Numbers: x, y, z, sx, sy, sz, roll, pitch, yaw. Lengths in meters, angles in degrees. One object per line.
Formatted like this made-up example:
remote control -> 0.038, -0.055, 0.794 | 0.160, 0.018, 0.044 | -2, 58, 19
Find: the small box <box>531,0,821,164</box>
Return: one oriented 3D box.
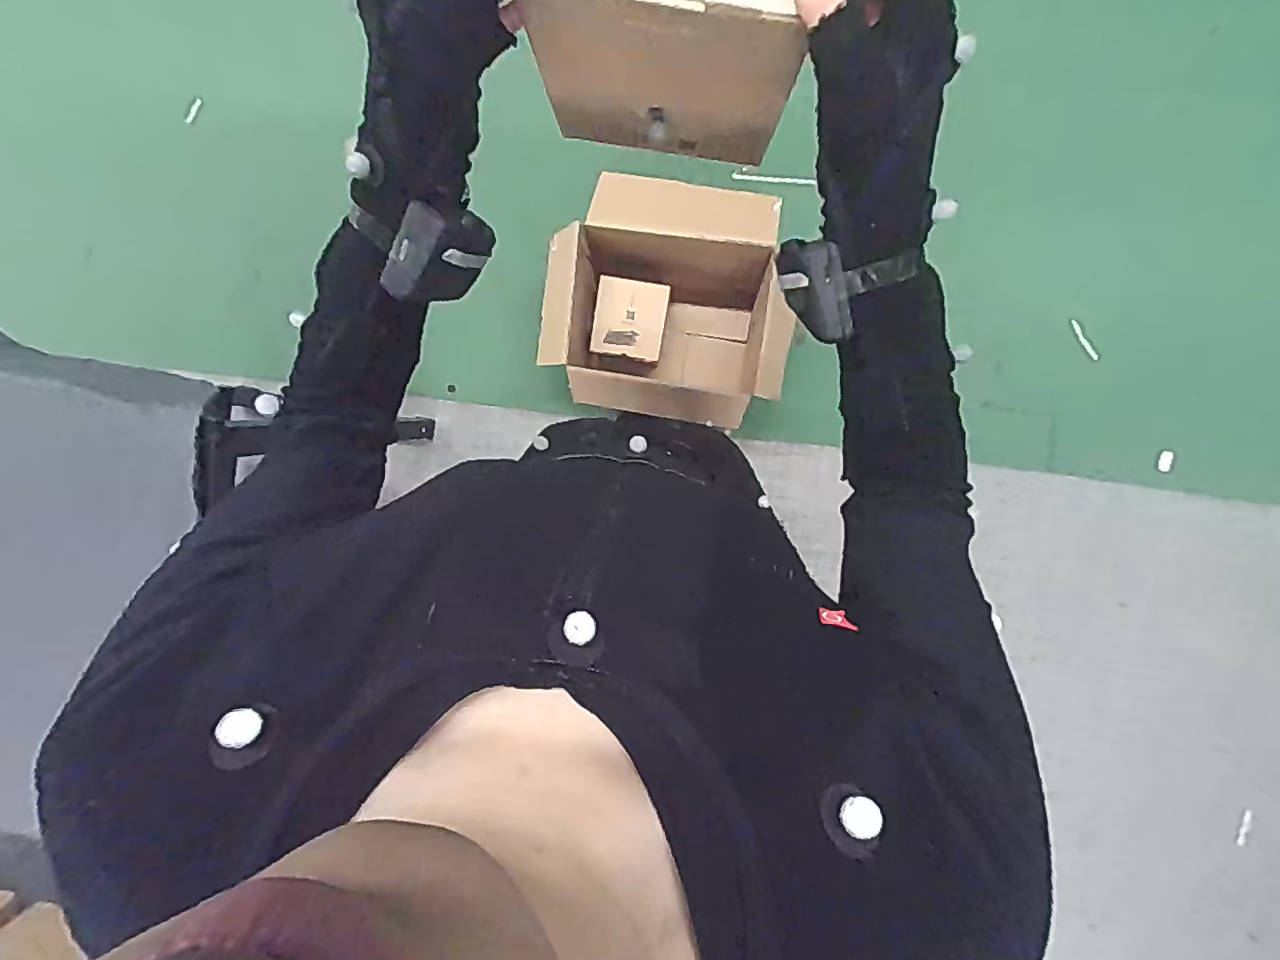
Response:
small box -> 0.026, -0.343, 0.349 | 0.168, 0.176, 0.179 | 9, 98, 0
